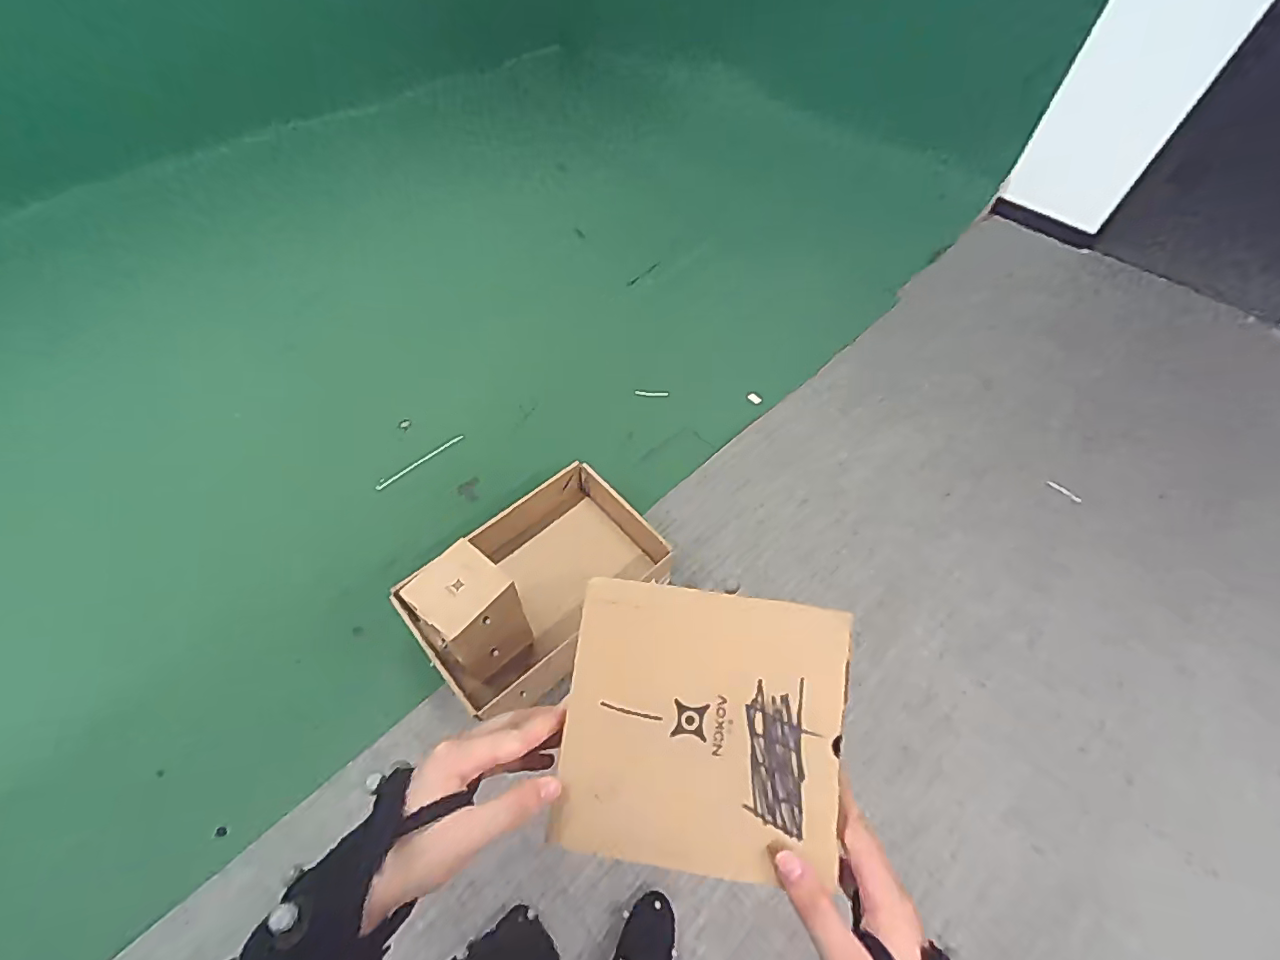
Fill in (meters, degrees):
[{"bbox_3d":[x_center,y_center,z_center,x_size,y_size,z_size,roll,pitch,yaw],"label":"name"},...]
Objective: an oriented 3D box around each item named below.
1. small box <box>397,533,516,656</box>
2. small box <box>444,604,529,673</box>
[{"bbox_3d":[-0.394,0.259,1.199,0.168,0.176,0.179,35,60,17],"label":"small box"},{"bbox_3d":[-0.397,0.347,1.337,0.179,0.176,0.168,-36,65,-22],"label":"small box"}]
